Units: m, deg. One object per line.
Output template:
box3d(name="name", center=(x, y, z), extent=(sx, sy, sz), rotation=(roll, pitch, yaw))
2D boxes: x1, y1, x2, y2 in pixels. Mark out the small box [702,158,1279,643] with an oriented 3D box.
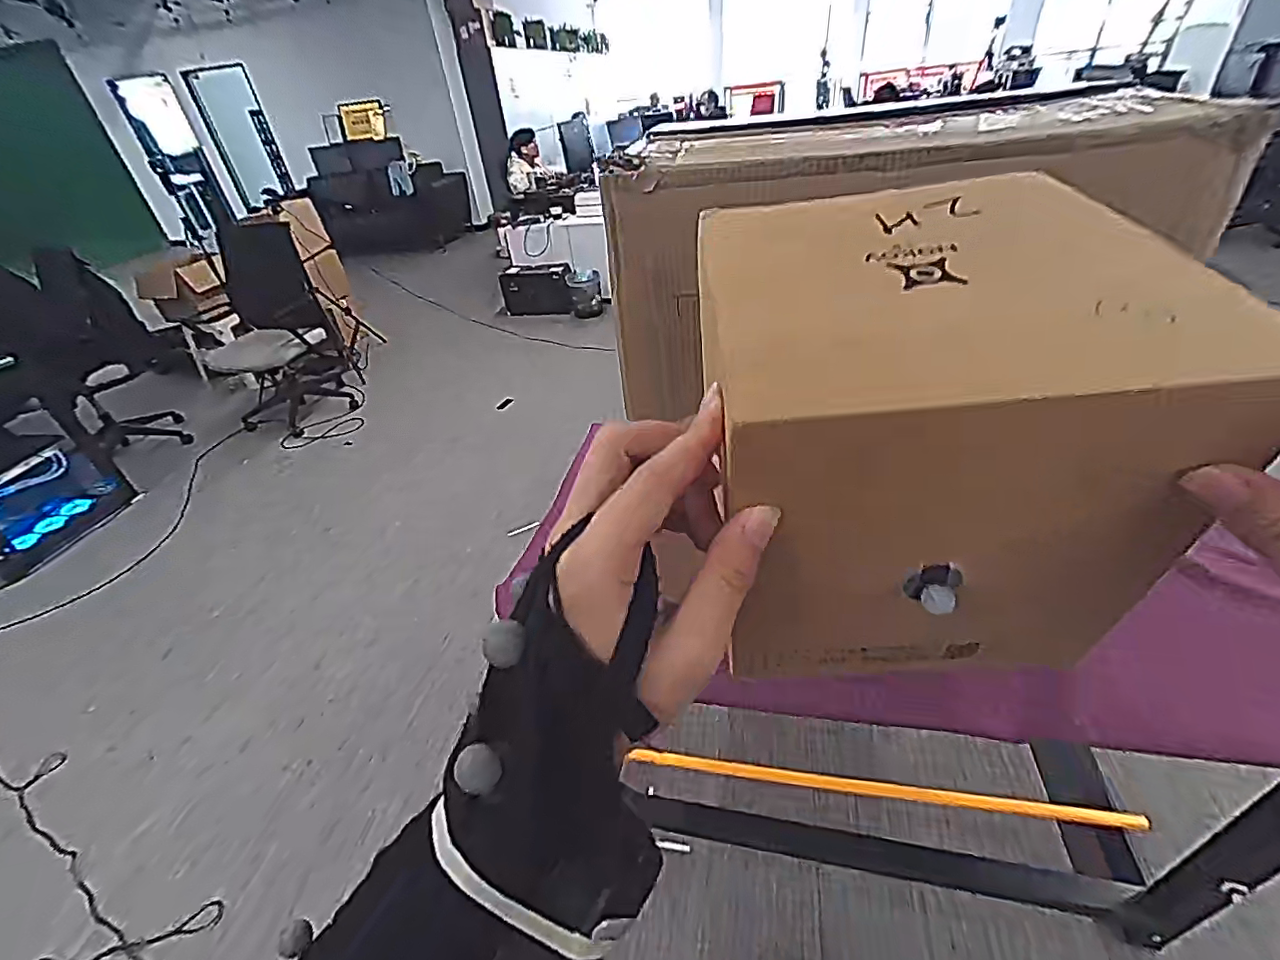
box3d(name="small box", center=(0.121, -0.031, 0.268), extent=(0.168, 0.176, 0.179), rotation=(-4, 44, 6))
